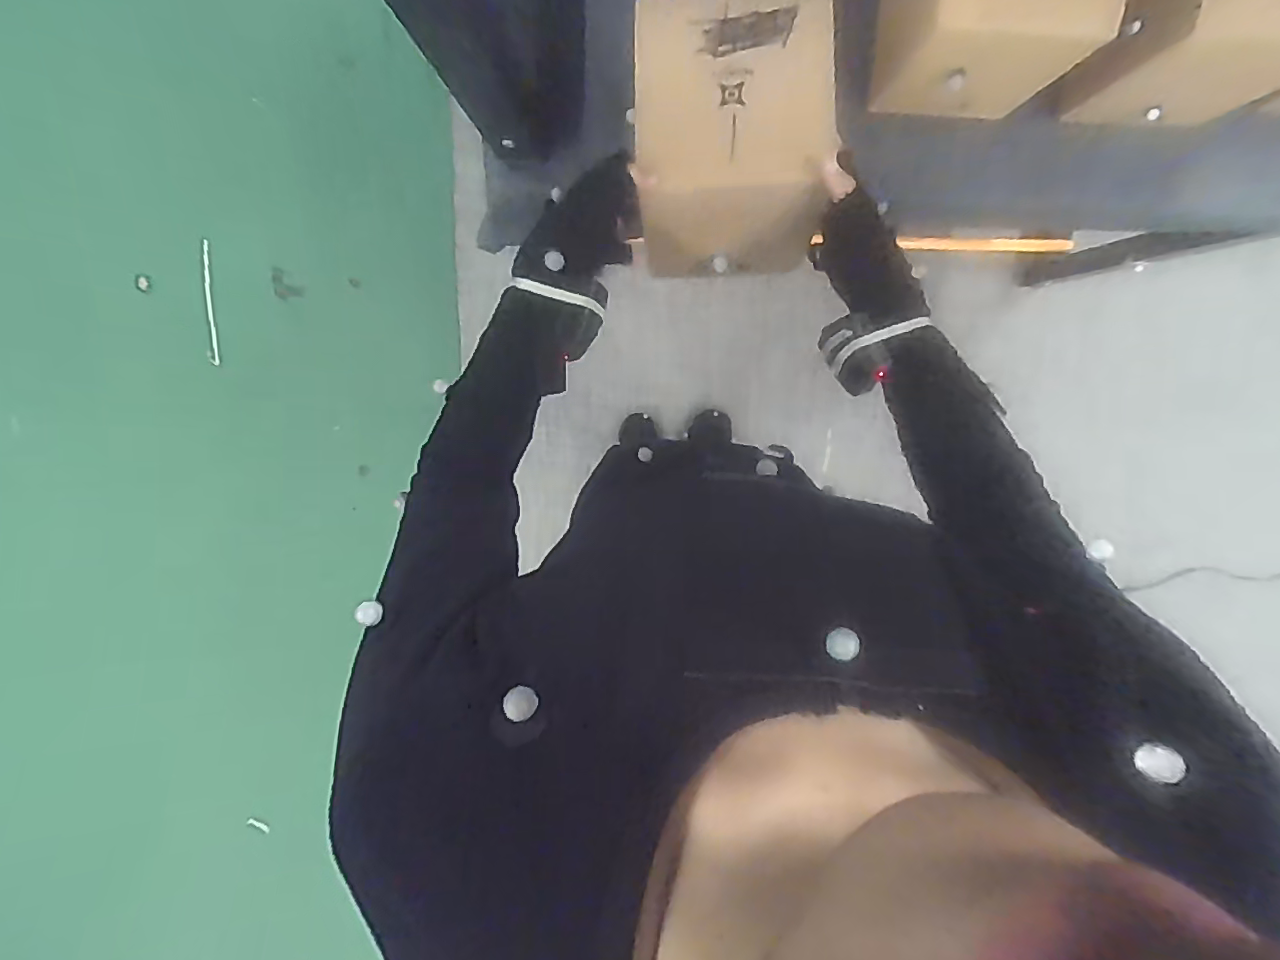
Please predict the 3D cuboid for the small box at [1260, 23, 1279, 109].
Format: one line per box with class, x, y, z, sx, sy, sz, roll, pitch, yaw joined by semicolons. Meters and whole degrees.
small box;0.806;-0.491;0.542;0.168;0.176;0.179;5;100;0
